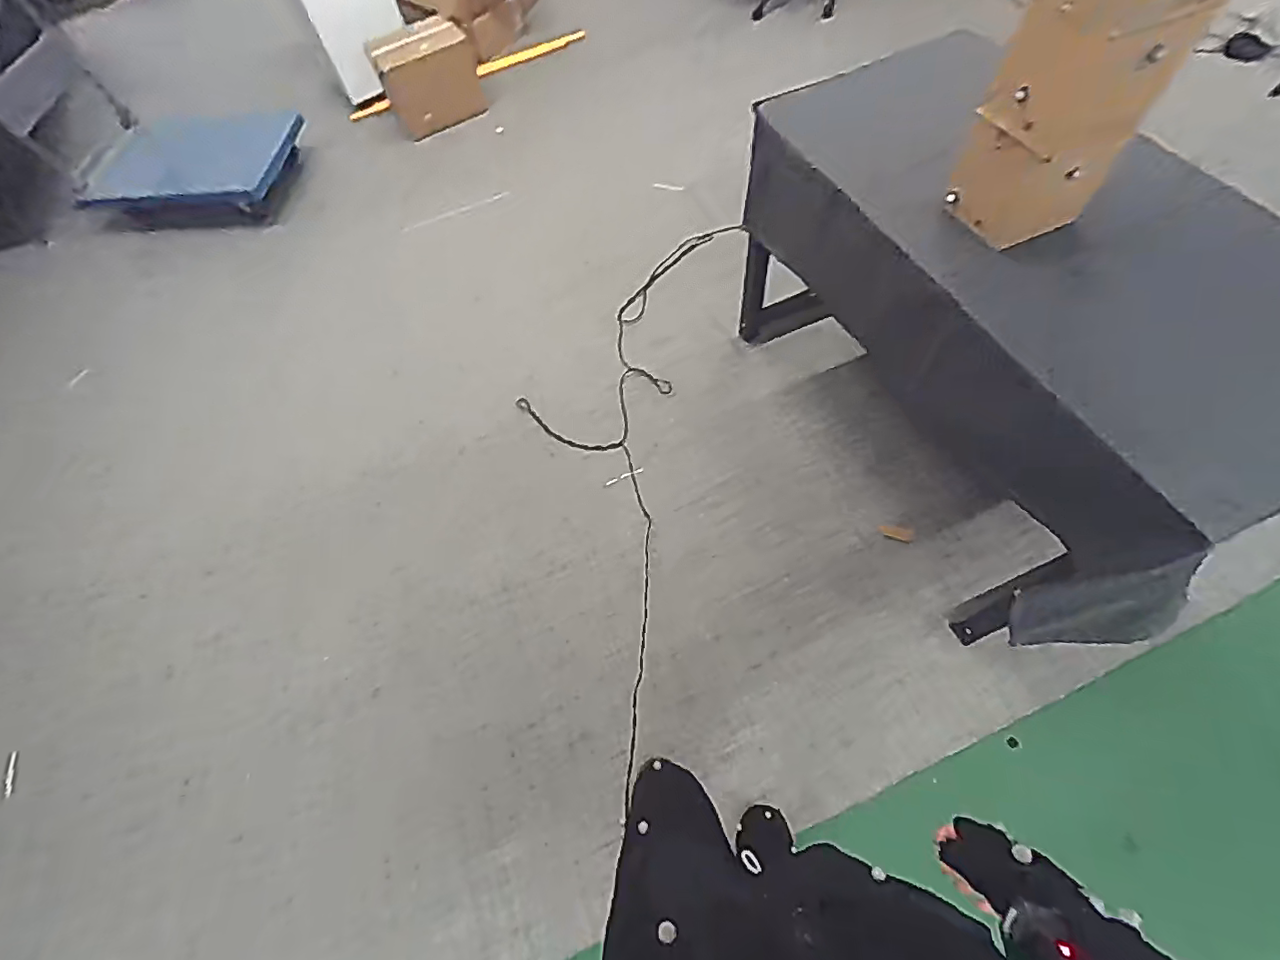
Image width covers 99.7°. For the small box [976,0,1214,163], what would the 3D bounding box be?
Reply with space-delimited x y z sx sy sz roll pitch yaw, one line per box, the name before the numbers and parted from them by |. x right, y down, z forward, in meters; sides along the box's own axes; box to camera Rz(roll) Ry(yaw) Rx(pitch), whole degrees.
small box | 0.658 -0.618 0.811 0.179 0.176 0.168 -23 62 -7

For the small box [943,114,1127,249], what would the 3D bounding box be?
small box | 0.671 -0.542 0.954 0.179 0.176 0.168 -23 62 -8

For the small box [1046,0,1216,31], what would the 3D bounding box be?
small box | 0.642 -0.693 0.665 0.168 0.176 0.179 -22 62 -6
